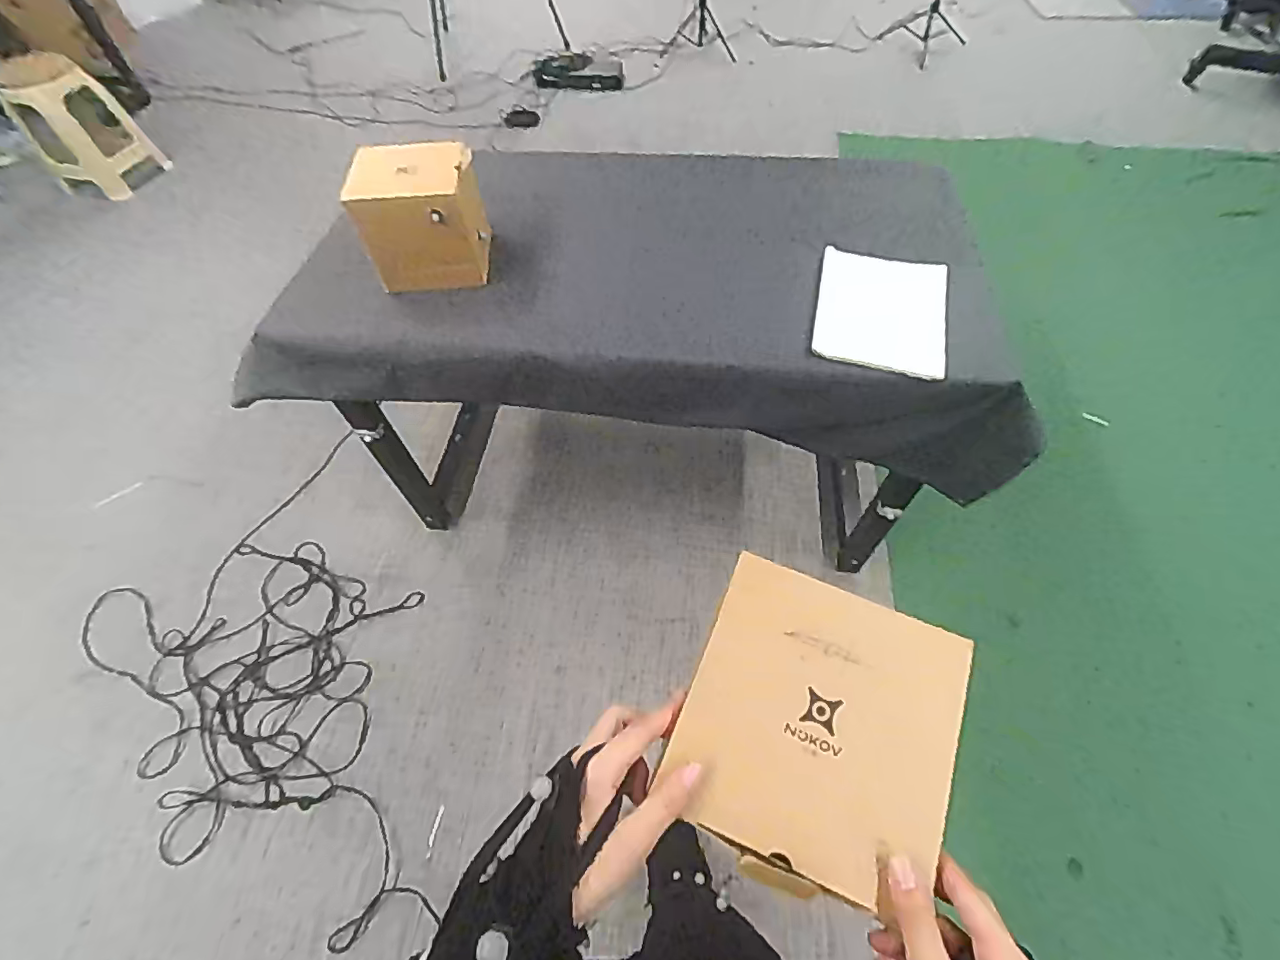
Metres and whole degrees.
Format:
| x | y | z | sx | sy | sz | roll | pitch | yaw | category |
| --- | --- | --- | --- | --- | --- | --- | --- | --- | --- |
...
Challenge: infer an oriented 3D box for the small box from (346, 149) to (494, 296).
| x | y | z | sx | sy | sz | roll | pitch | yaw | category |
| --- | --- | --- | --- | --- | --- | --- | --- | --- | --- |
| -0.362 | -0.434 | 0.924 | 0.179 | 0.176 | 0.168 | -5 | 56 | -3 | small box |

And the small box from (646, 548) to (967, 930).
| x | y | z | sx | sy | sz | roll | pitch | yaw | category |
| --- | --- | --- | --- | --- | --- | --- | --- | --- | --- |
| 0.113 | 0.184 | 0.414 | 0.168 | 0.176 | 0.179 | 21 | 64 | 10 | small box |
